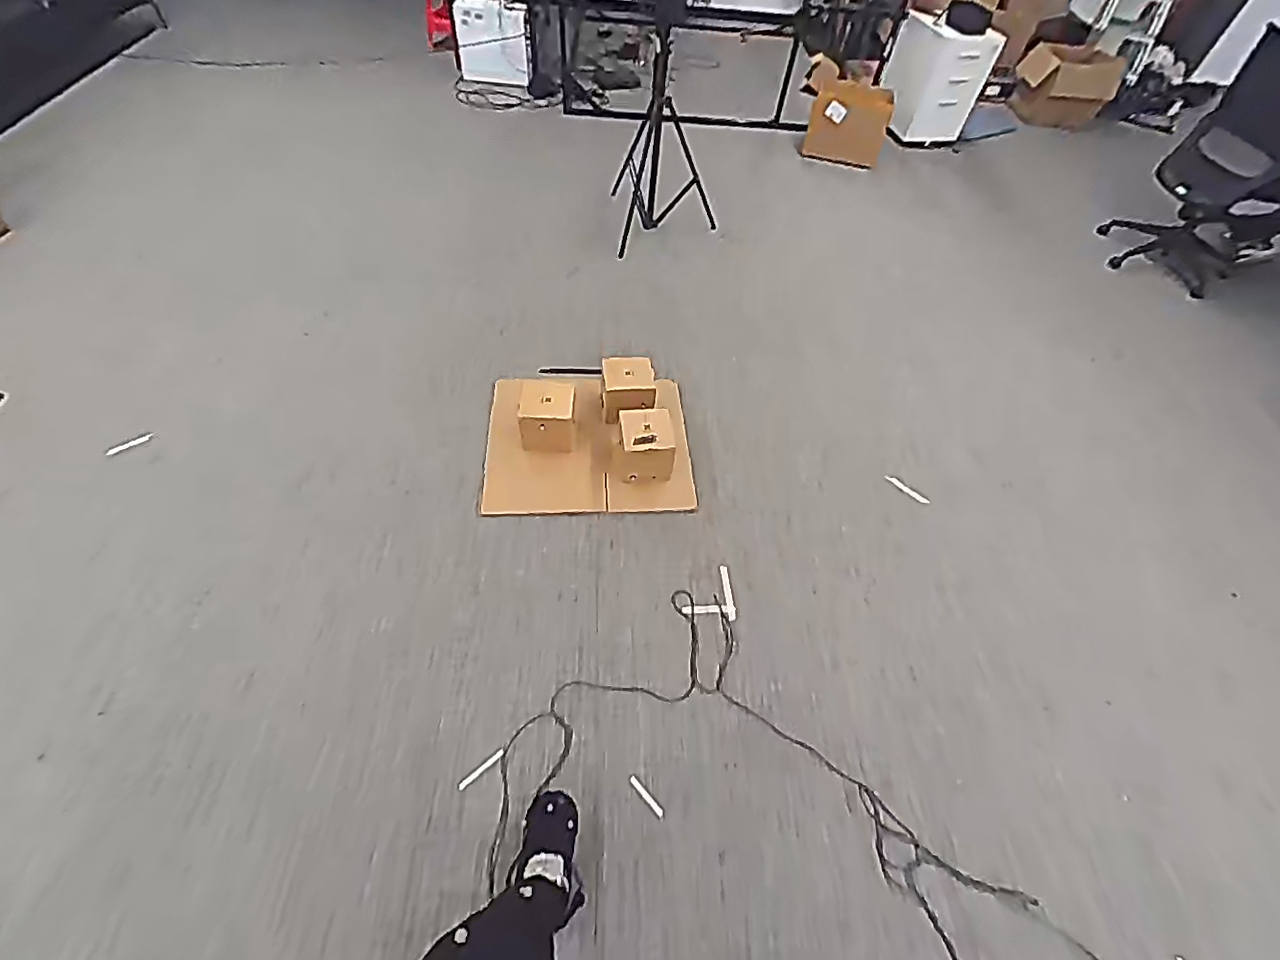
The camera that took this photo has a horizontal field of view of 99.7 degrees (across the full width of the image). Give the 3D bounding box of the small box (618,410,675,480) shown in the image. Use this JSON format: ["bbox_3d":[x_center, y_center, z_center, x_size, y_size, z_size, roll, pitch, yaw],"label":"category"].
[{"bbox_3d":[0.017,-0.111,1.793,0.168,0.176,0.179,-4,54,-8],"label":"small box"}]

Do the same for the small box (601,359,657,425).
[{"bbox_3d":[-0.044,-0.316,1.942,0.179,0.176,0.168,-5,53,-8],"label":"small box"}]

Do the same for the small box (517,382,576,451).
[{"bbox_3d":[-0.310,-0.210,1.836,0.179,0.176,0.168,2,54,-3],"label":"small box"}]
